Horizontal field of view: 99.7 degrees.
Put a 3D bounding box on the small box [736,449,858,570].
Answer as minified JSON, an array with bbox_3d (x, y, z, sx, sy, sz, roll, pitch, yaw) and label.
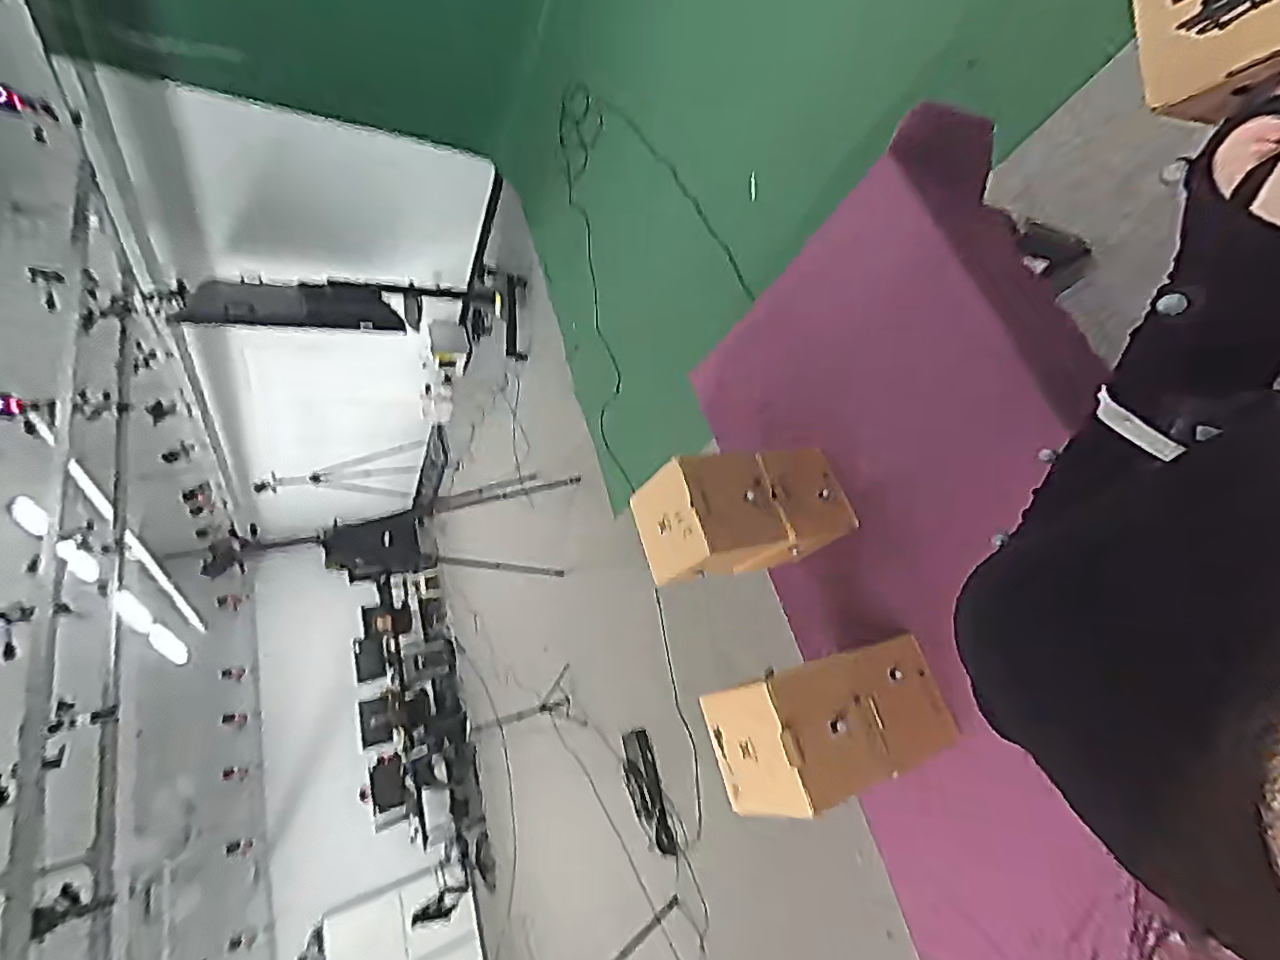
[{"bbox_3d":[0.265,0.054,1.013,0.179,0.176,0.168,-48,55,50],"label":"small box"}]

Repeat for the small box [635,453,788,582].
[{"bbox_3d":[0.120,0.065,0.935,0.179,0.176,0.168,-44,58,51],"label":"small box"}]

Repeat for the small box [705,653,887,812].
[{"bbox_3d":[0.232,0.367,0.801,0.179,0.176,0.168,-44,56,52],"label":"small box"}]

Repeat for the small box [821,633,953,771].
[{"bbox_3d":[0.373,0.362,0.885,0.179,0.176,0.168,-46,56,52],"label":"small box"}]
